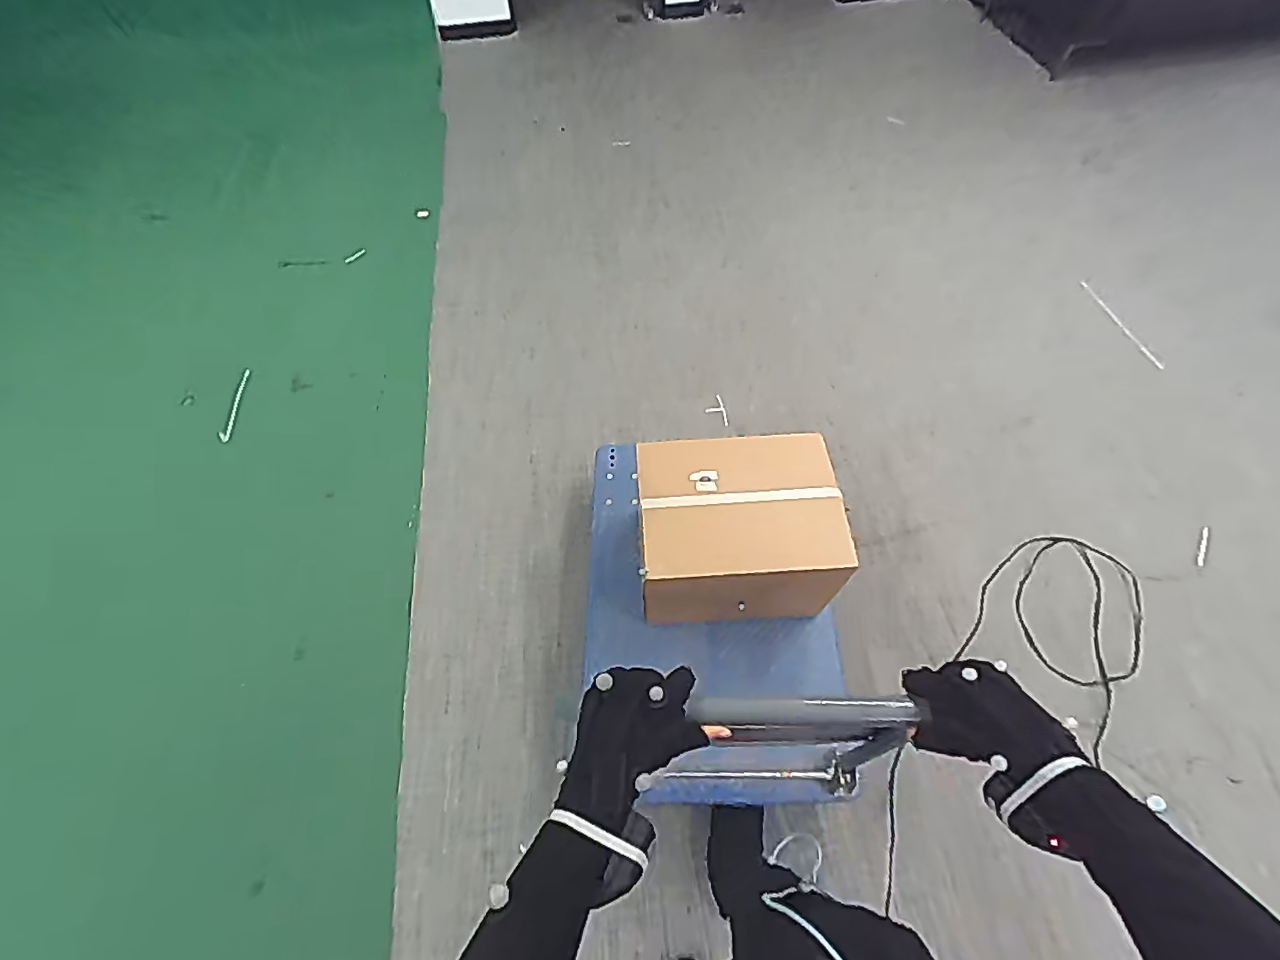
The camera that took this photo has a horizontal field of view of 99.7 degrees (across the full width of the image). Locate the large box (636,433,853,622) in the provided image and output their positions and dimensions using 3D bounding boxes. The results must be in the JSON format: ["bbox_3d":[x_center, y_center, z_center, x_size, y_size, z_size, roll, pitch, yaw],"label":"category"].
[{"bbox_3d":[0.209,0.119,1.233,0.408,0.320,0.320,-5,59,0],"label":"large box"}]
